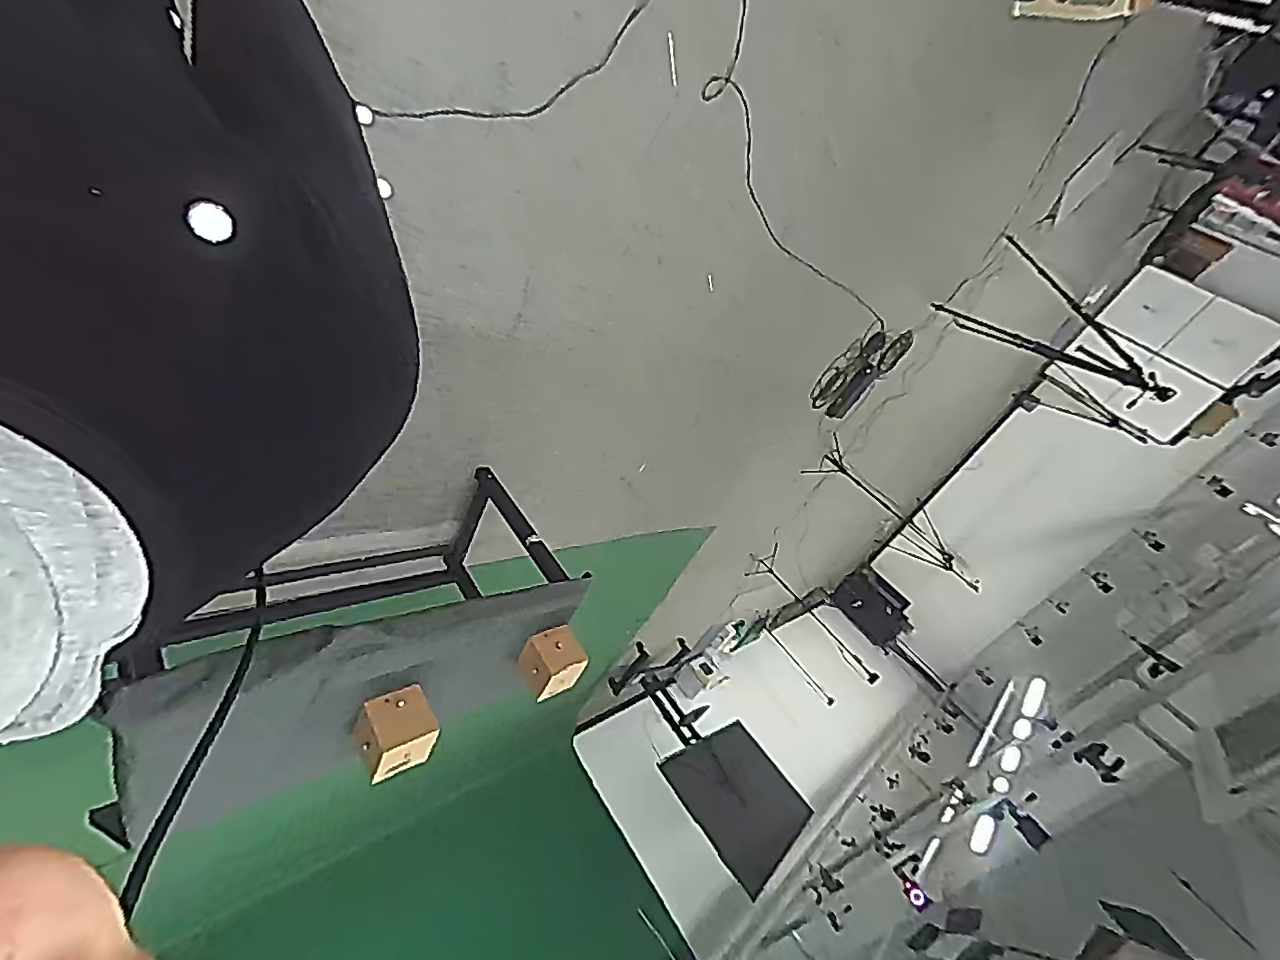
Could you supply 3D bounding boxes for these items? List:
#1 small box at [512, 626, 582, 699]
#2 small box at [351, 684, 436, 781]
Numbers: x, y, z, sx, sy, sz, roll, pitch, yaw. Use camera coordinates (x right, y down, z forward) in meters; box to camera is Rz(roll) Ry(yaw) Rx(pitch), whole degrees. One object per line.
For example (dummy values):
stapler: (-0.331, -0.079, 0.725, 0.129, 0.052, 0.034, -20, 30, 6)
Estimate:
small box: (-0.346, 0.659, 1.991, 0.168, 0.176, 0.179, -8, 136, -46)
small box: (-0.740, 0.747, 1.613, 0.168, 0.176, 0.179, -7, 134, -48)
